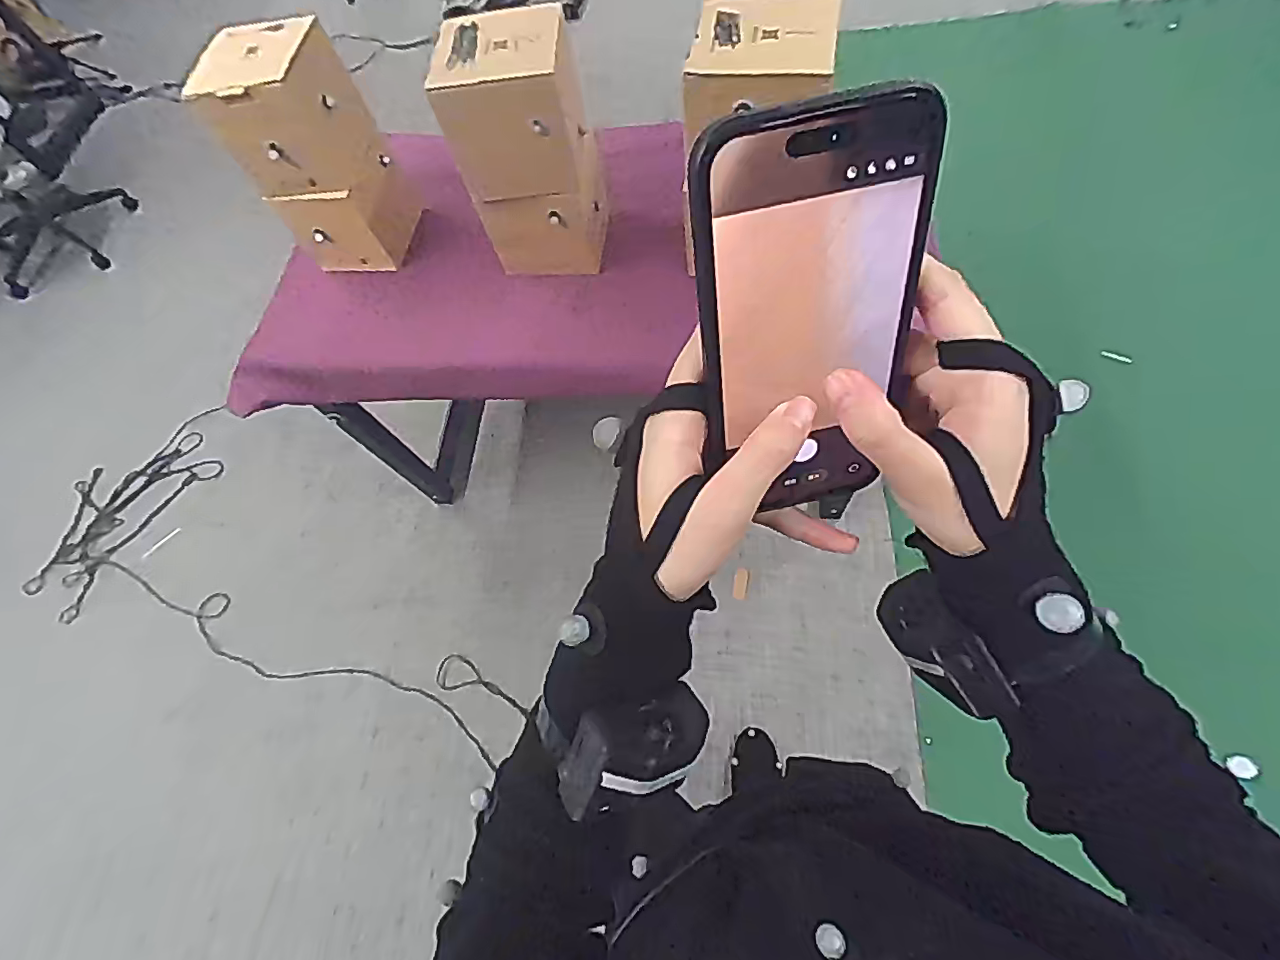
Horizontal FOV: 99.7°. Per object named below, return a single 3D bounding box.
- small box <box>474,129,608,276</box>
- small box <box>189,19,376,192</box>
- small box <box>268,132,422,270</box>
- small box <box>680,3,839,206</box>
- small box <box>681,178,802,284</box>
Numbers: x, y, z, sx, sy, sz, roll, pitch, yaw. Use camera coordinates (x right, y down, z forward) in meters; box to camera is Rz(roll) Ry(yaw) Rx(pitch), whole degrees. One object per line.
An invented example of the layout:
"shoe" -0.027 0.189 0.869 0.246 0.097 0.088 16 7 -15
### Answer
"small box" -0.161 -0.479 0.949 0.179 0.176 0.168 3 66 10
"small box" -0.563 -0.595 0.880 0.168 0.176 0.179 -1 66 7
"small box" -0.542 -0.519 1.024 0.168 0.176 0.179 4 66 10
"small box" 0.158 -0.500 0.734 0.179 0.176 0.168 9 67 12
"small box" 0.173 -0.446 0.888 0.179 0.176 0.168 9 67 13
